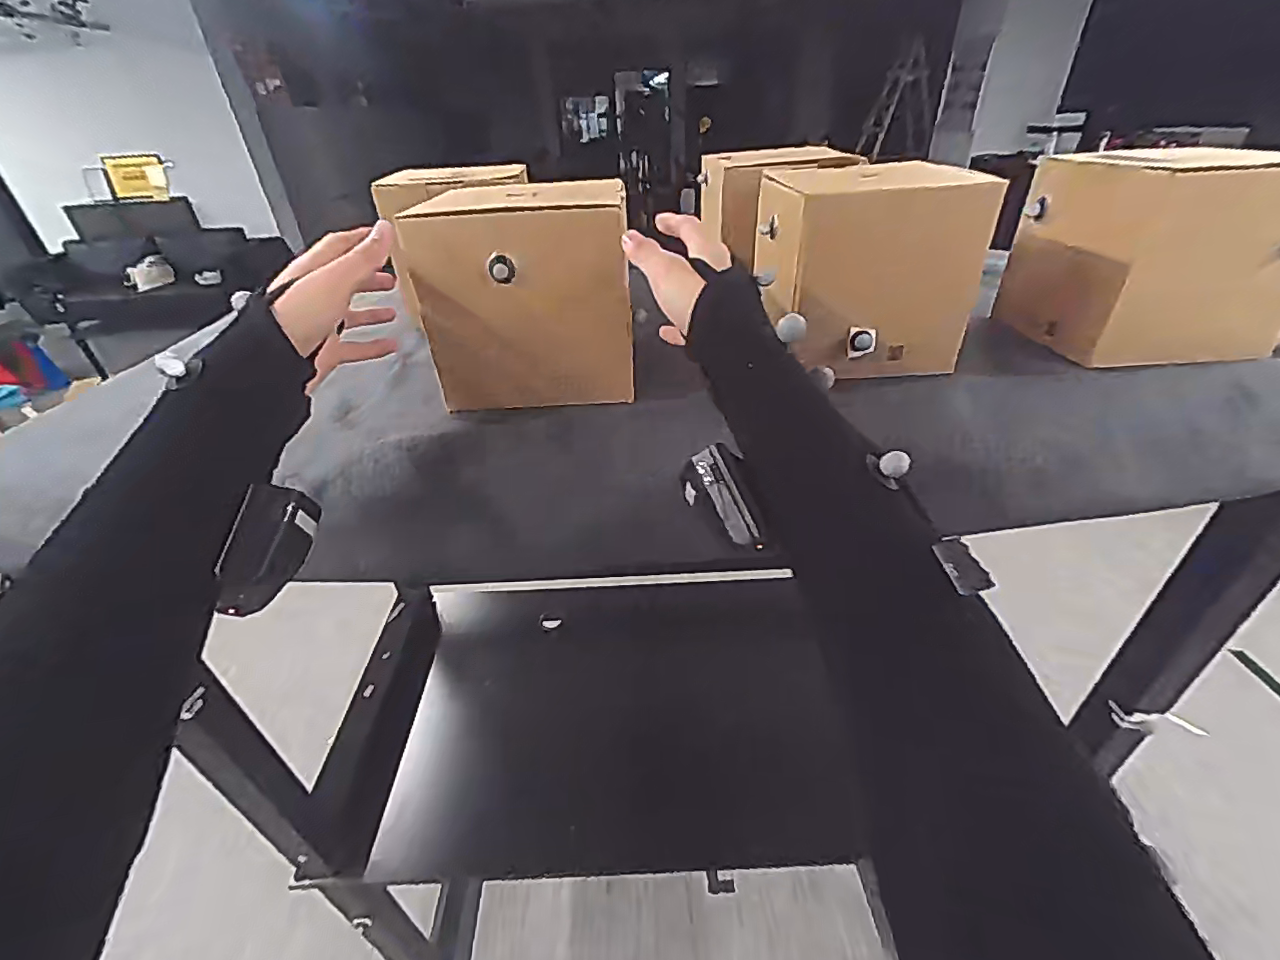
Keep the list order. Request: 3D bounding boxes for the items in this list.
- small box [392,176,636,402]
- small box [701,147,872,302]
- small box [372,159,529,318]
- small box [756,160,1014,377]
[{"bbox_3d":[-0.097,-0.181,0.511,0.179,0.176,0.168,-2,35,1],"label":"small box"},{"bbox_3d":[0.182,-0.347,0.733,0.179,0.176,0.168,-3,34,-1],"label":"small box"},{"bbox_3d":[-0.224,-0.319,0.721,0.168,0.176,0.179,-5,34,-3],"label":"small box"},{"bbox_3d":[0.215,-0.213,0.536,0.168,0.176,0.179,-3,34,2],"label":"small box"}]
